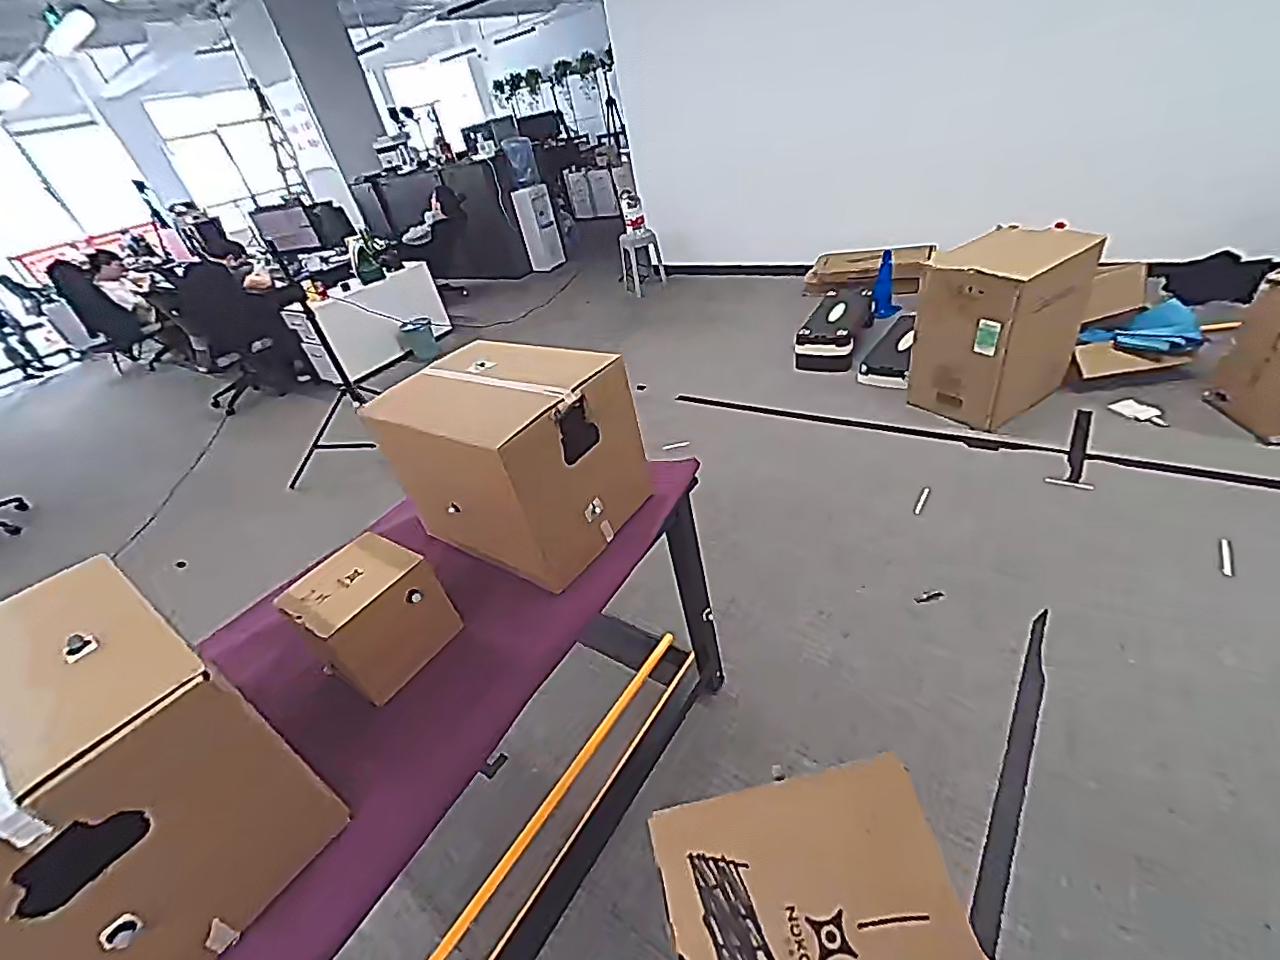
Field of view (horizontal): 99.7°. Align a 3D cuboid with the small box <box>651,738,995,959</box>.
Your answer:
[{"bbox_3d":[0.123,0.302,0.385,0.179,0.176,0.168,-17,56,4],"label":"small box"}]

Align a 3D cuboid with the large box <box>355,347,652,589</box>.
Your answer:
[{"bbox_3d":[-0.243,-0.044,1.046,0.408,0.320,0.320,13,42,34],"label":"large box"}]
